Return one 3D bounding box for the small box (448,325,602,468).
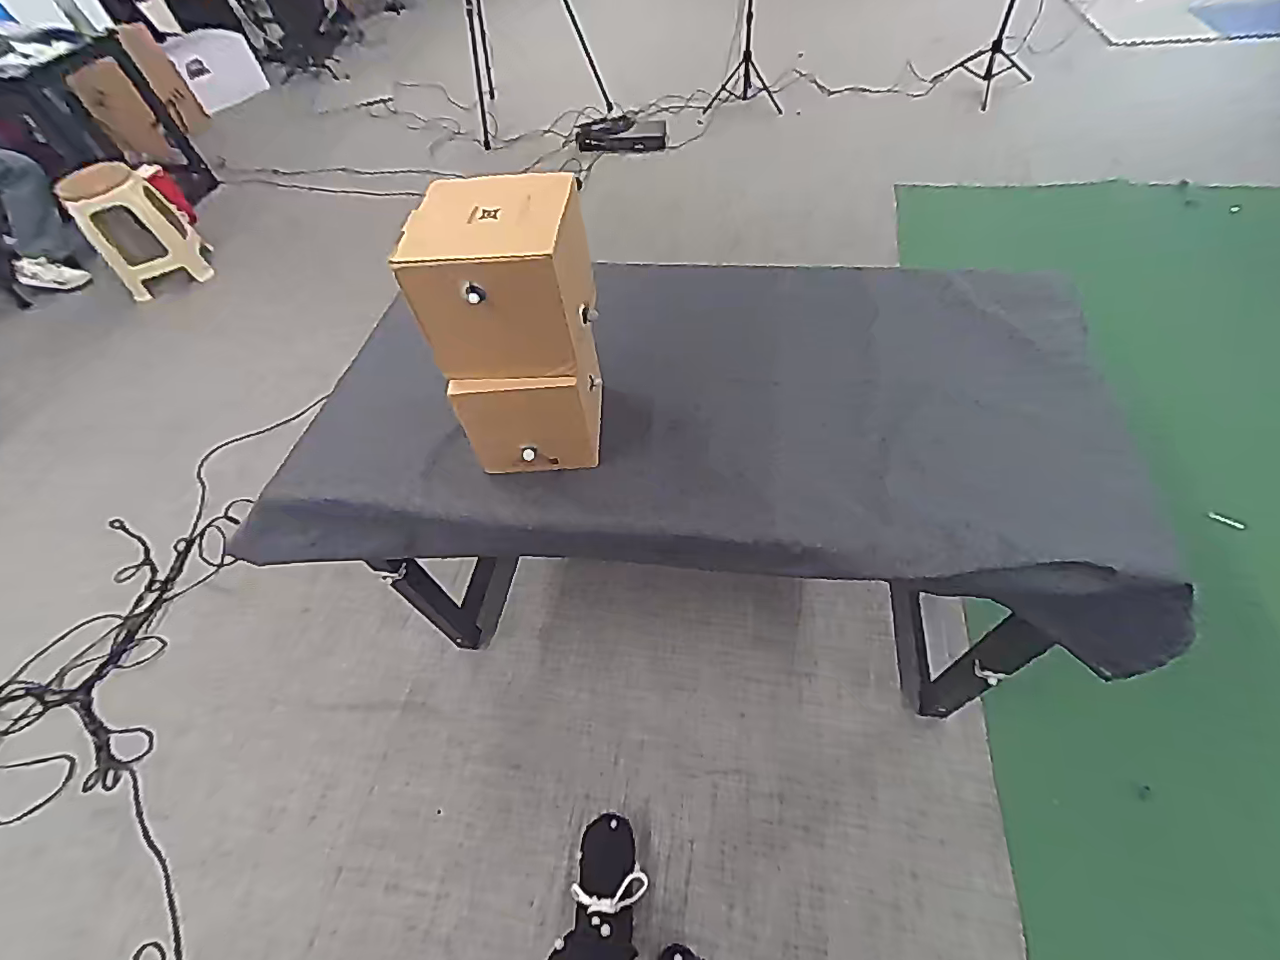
[{"bbox_3d":[-0.149,-0.136,0.769,0.168,0.176,0.179,-3,55,4],"label":"small box"}]

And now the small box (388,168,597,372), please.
[{"bbox_3d":[-0.157,-0.243,0.645,0.179,0.176,0.168,1,56,6],"label":"small box"}]
